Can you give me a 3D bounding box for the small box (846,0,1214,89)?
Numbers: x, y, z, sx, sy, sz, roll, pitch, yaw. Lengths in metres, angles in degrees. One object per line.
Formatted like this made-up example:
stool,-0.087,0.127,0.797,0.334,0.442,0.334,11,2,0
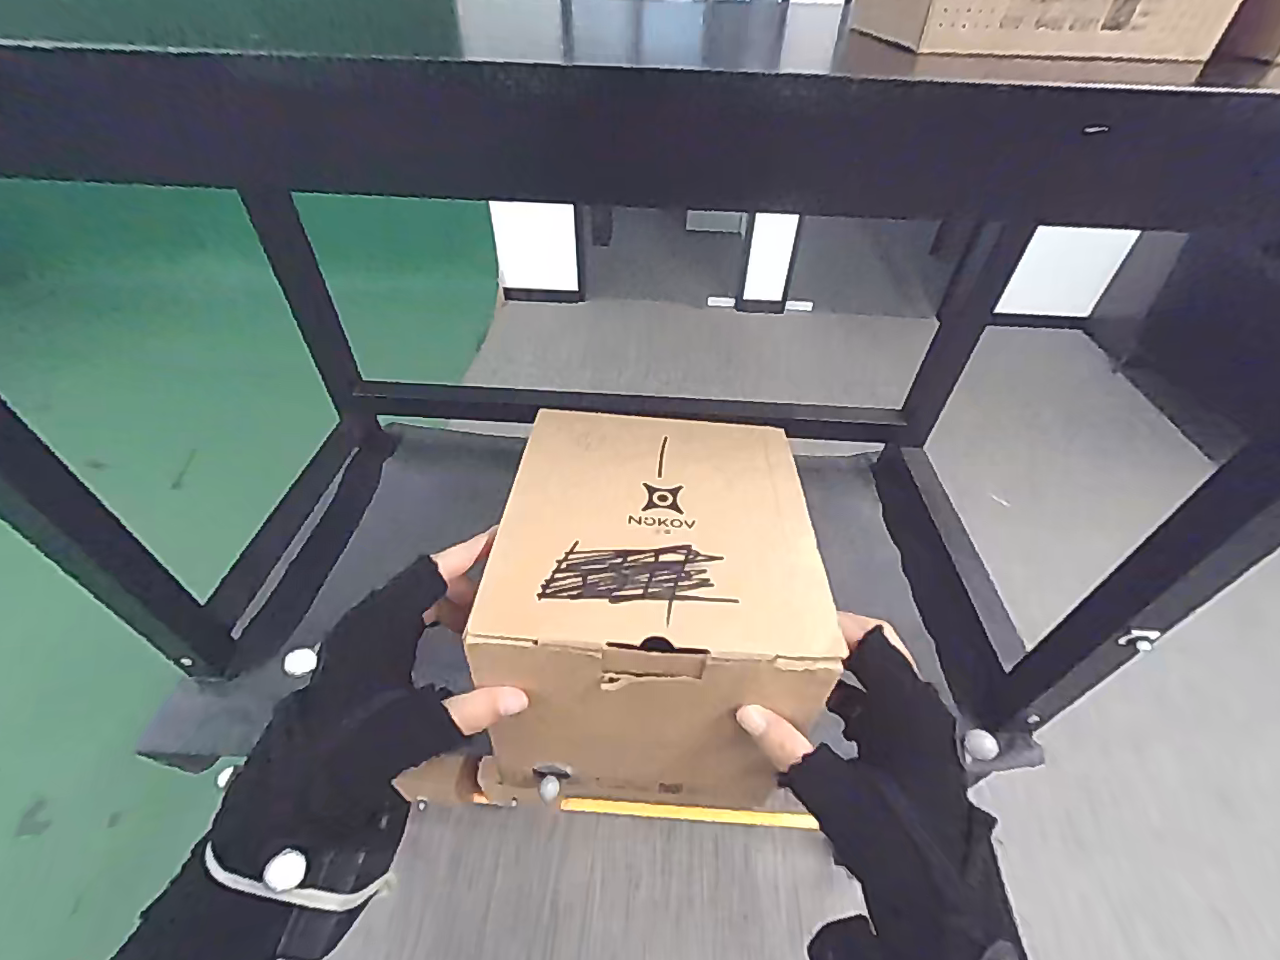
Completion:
small box,0.244,-0.358,0.330,0.168,0.176,0.179,3,43,1
